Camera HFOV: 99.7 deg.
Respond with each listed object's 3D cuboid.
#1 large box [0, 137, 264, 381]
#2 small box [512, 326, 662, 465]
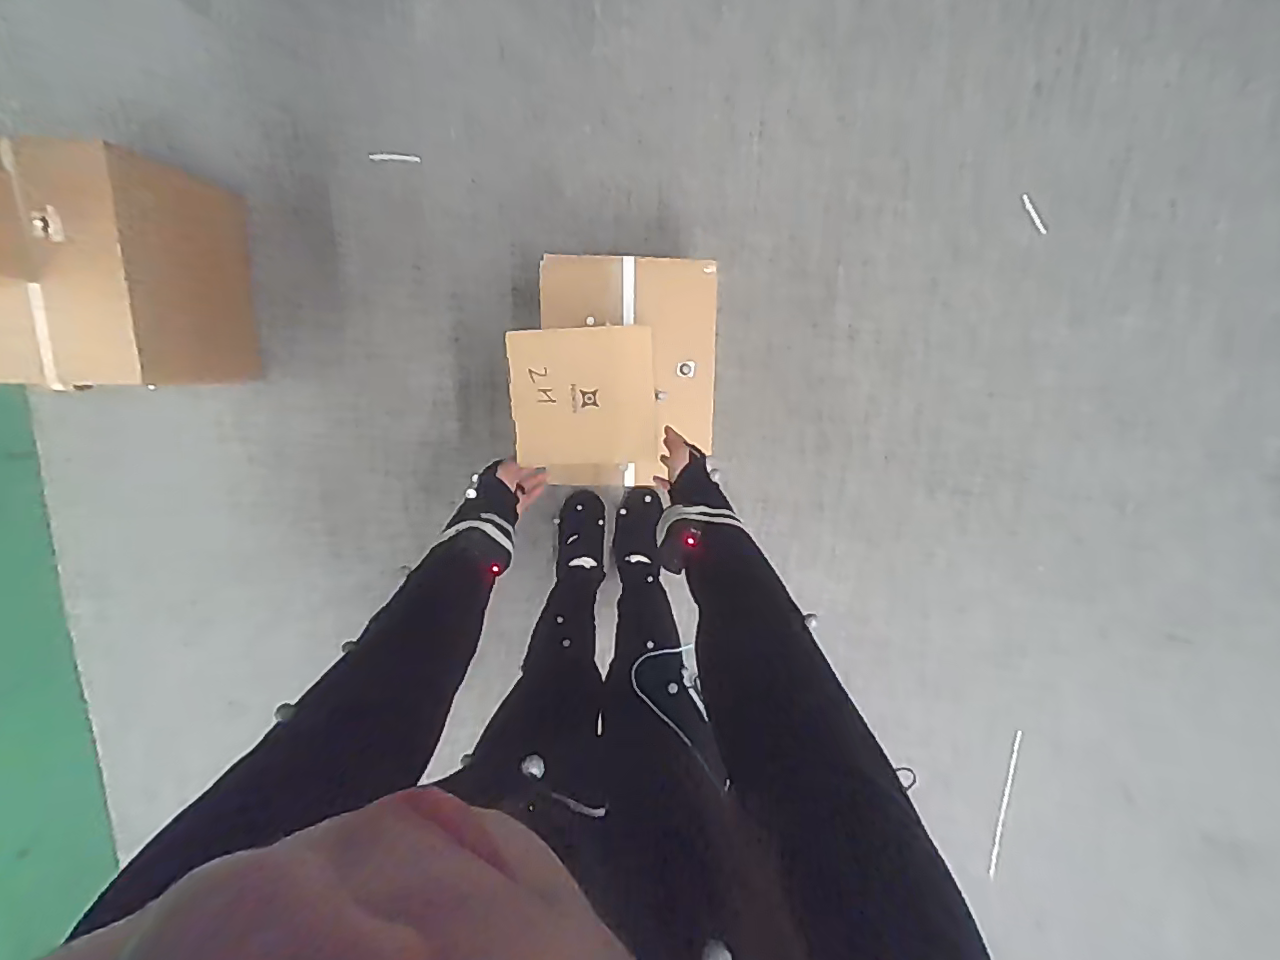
[{"bbox_3d":[-1.026,-0.403,1.082,0.320,0.320,0.408,1,101,0],"label":"large box"},{"bbox_3d":[-0.062,-0.118,0.730,0.179,0.176,0.168,-2,102,2],"label":"small box"}]
